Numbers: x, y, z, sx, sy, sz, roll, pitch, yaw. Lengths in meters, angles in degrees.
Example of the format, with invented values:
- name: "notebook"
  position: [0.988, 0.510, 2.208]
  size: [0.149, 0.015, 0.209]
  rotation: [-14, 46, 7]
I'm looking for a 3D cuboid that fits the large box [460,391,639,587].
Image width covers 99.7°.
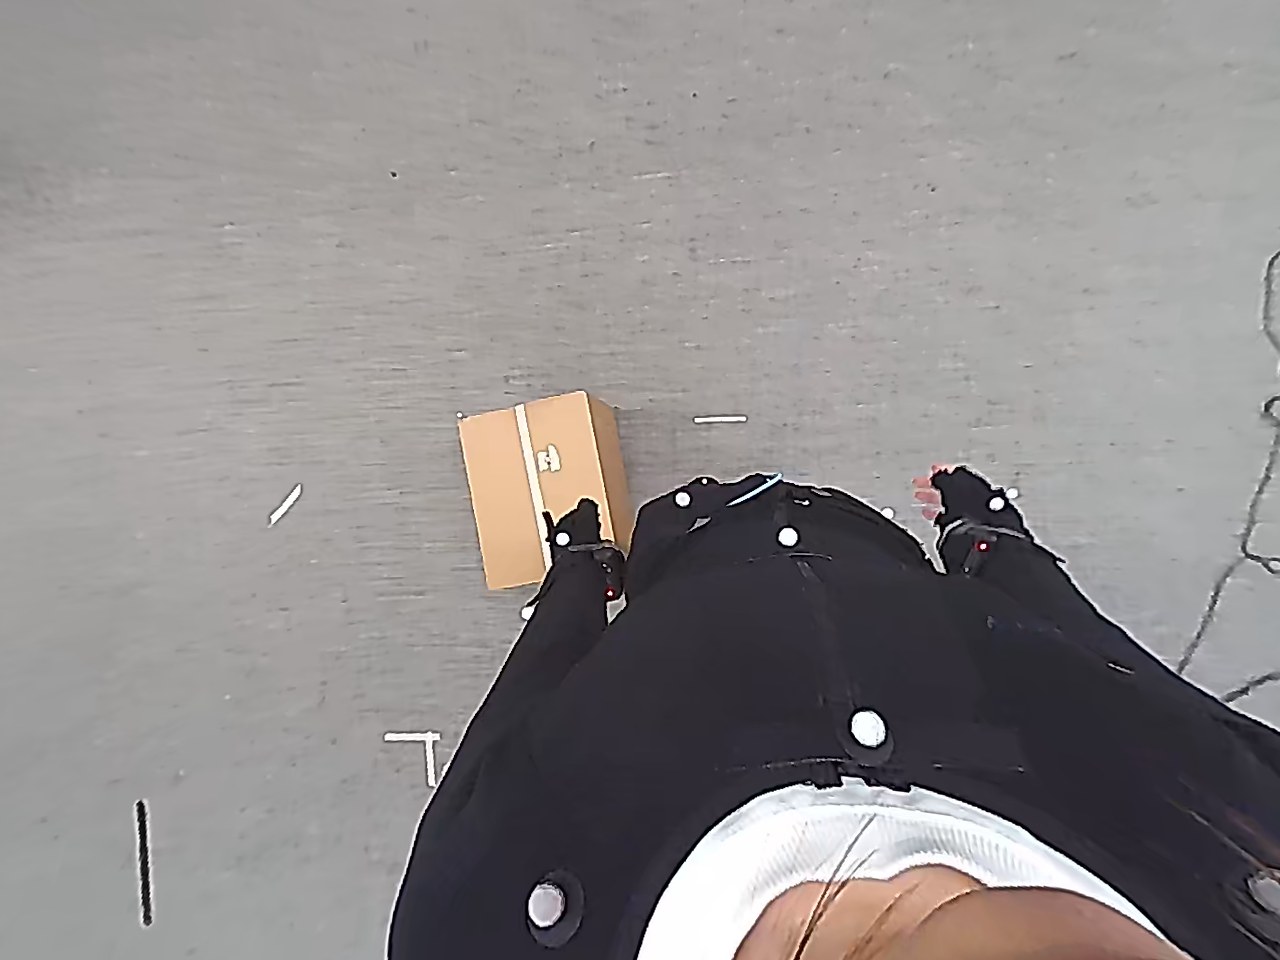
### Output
- name: "large box"
  position: [-0.209, 0.025, 1.371]
  size: [0.320, 0.320, 0.408]
  rotation: [-11, 87, 7]
